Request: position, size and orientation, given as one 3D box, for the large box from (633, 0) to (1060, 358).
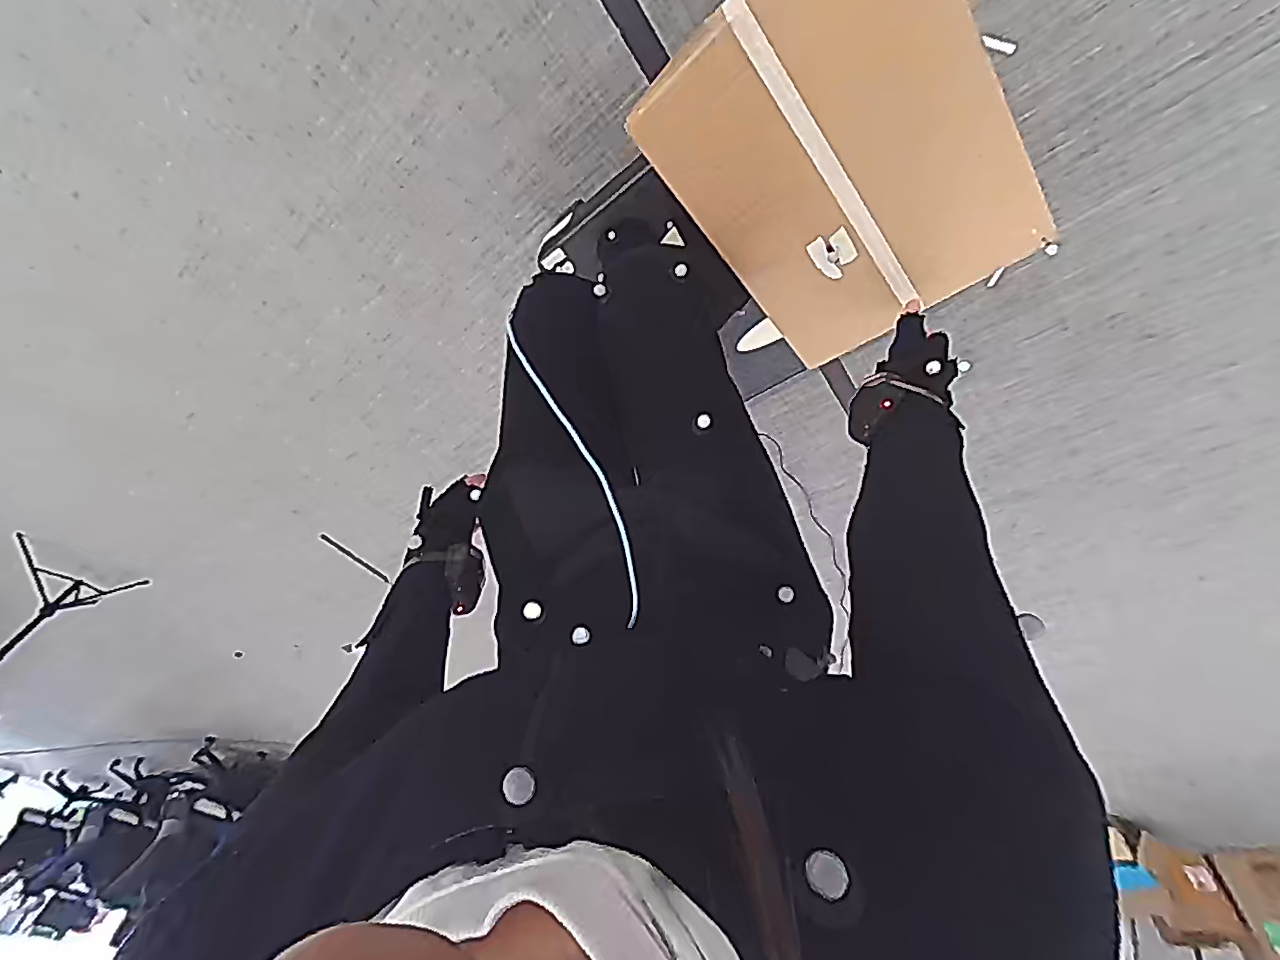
[{"bbox_3d":[0.256,-0.454,0.707,0.320,0.320,0.408,-26,125,38],"label":"large box"}]
